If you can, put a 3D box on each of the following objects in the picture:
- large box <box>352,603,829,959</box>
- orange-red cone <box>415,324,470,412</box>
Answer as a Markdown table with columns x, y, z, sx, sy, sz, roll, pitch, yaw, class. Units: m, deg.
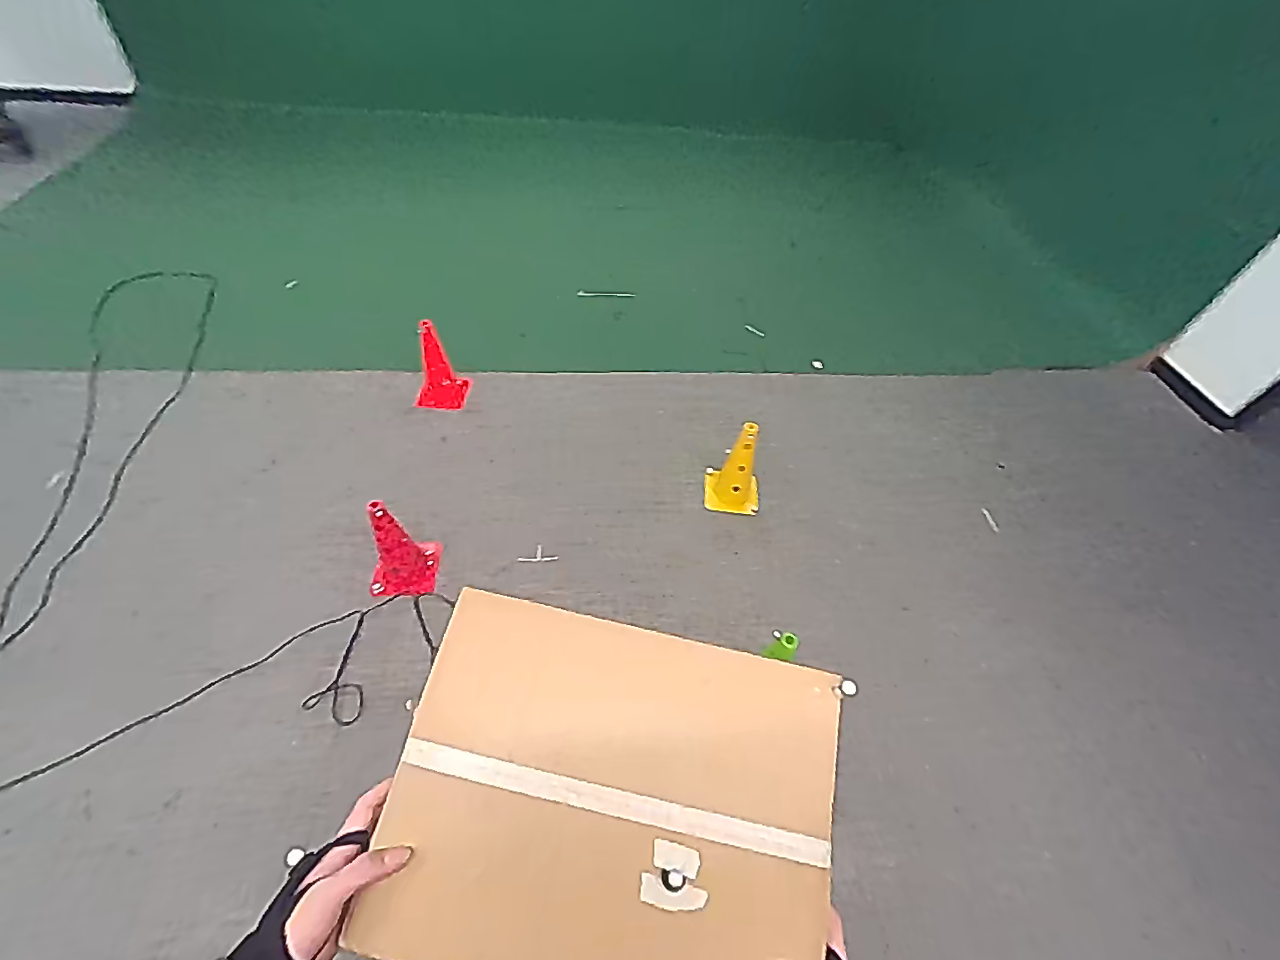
| x | y | z | sx | sy | sz | roll | pitch | yaw | class |
| --- | --- | --- | --- | --- | --- | --- | --- | --- | --- |
| -0.033 | 0.361 | 0.646 | 0.408 | 0.320 | 0.320 | 12 | 67 | 2 | large box |
| -0.843 | -0.474 | 2.205 | 0.199 | 0.360 | 0.198 | 4 | 49 | 0 | orange-red cone |
